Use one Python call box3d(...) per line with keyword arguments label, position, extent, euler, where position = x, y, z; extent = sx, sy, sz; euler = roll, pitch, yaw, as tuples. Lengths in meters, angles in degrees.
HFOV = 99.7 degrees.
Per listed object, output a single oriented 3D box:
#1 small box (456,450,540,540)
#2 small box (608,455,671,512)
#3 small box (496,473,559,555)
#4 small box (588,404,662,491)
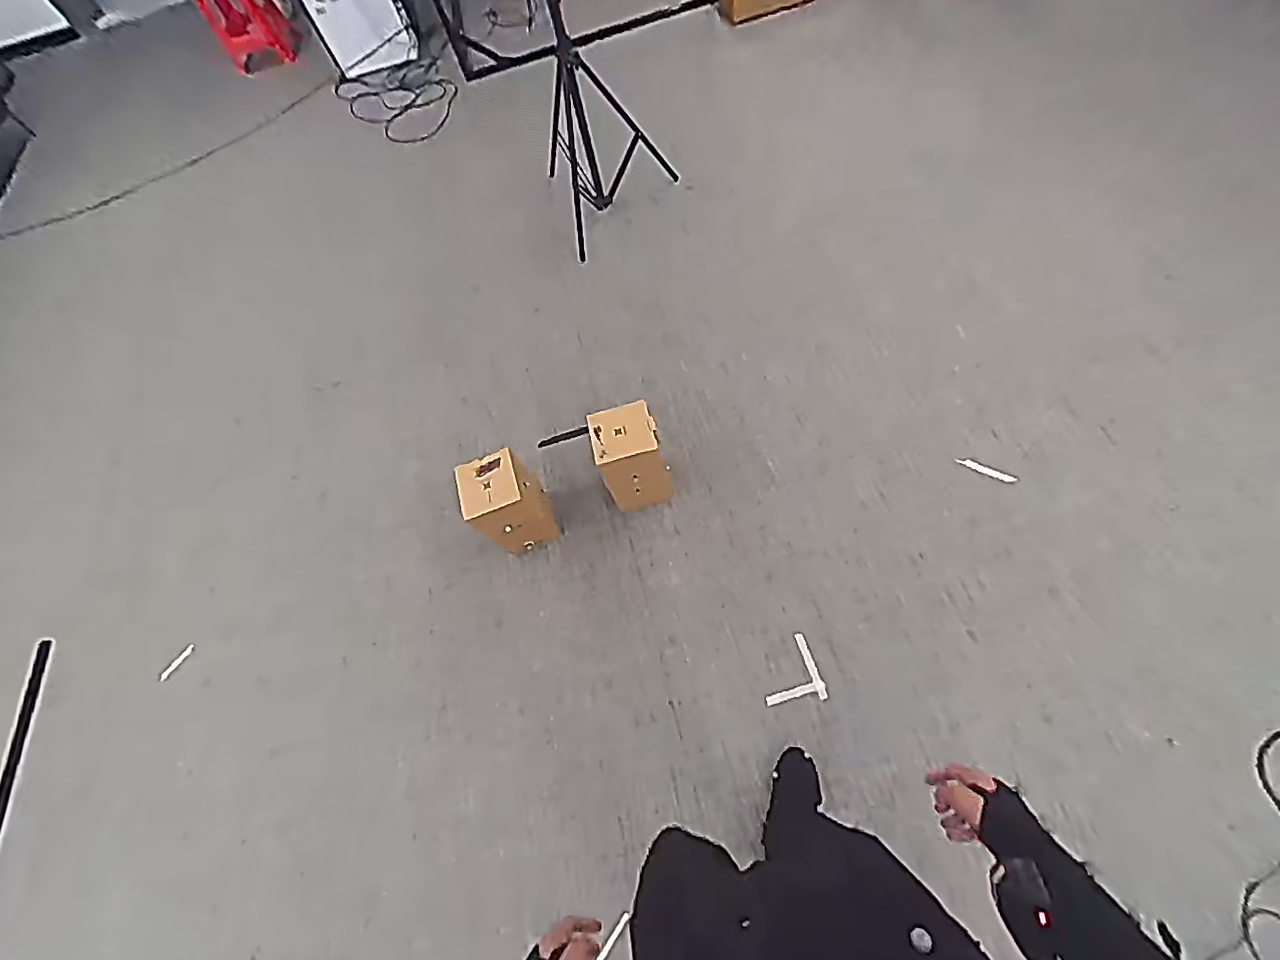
box3d(label="small box", position=(-0.403, 0.047, 1.548), extent=(0.168, 0.176, 0.179), euler=(-21, 63, 1))
box3d(label="small box", position=(-0.011, -0.018, 1.692), extent=(0.179, 0.176, 0.168), euler=(-15, 63, 2))
box3d(label="small box", position=(-0.370, 0.111, 1.696), extent=(0.168, 0.176, 0.179), euler=(-22, 63, 0))
box3d(label="small box", position=(-0.037, -0.089, 1.547), extent=(0.179, 0.176, 0.168), euler=(-14, 62, 2))
